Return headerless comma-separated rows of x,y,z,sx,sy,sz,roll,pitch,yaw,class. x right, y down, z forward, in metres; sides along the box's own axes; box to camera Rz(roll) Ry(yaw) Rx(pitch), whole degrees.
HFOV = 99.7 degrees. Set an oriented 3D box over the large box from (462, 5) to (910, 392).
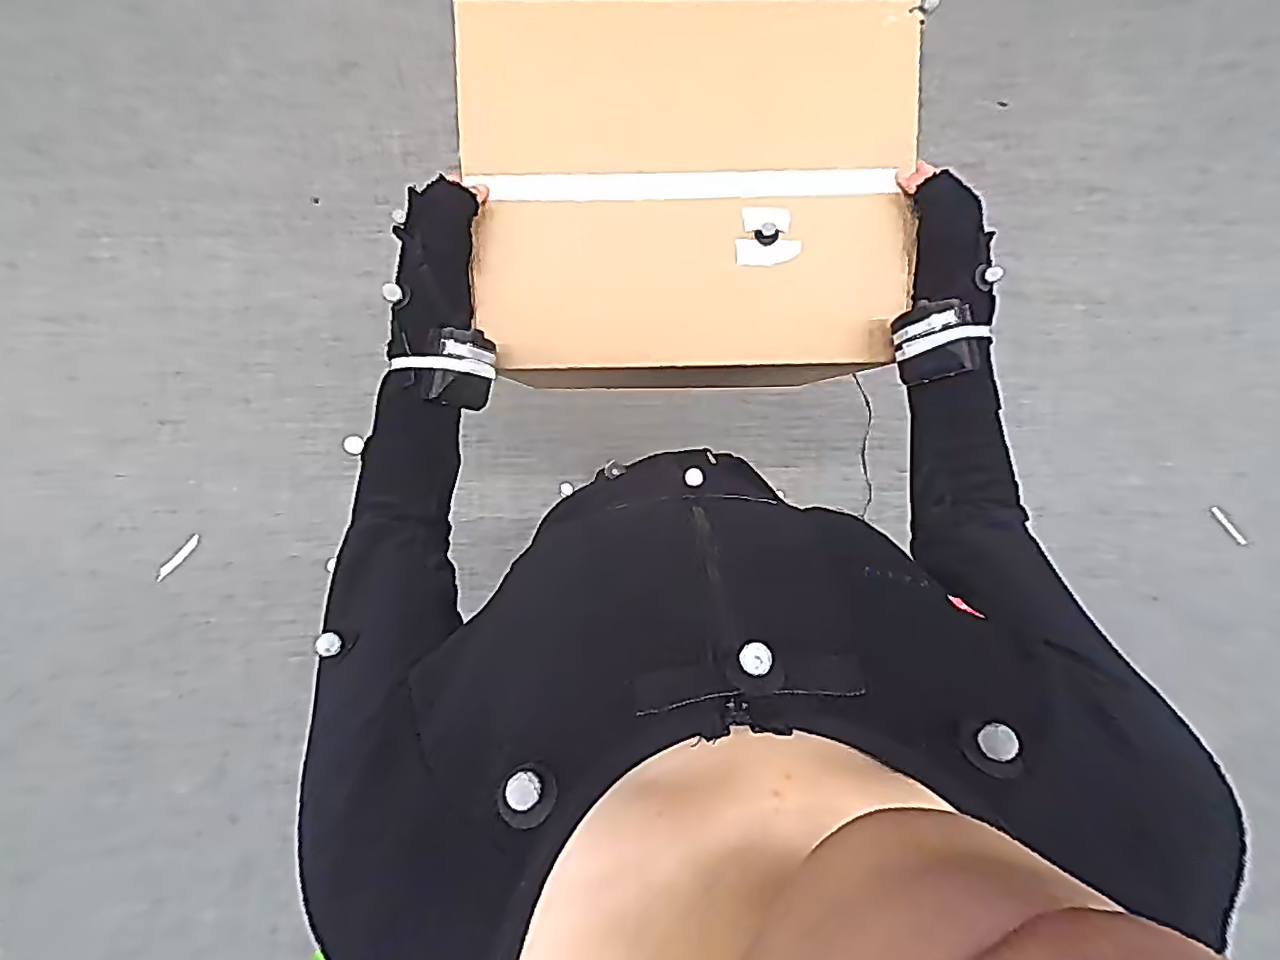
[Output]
0.041,-0.277,0.637,0.408,0.320,0.320,-2,96,-2,large box
